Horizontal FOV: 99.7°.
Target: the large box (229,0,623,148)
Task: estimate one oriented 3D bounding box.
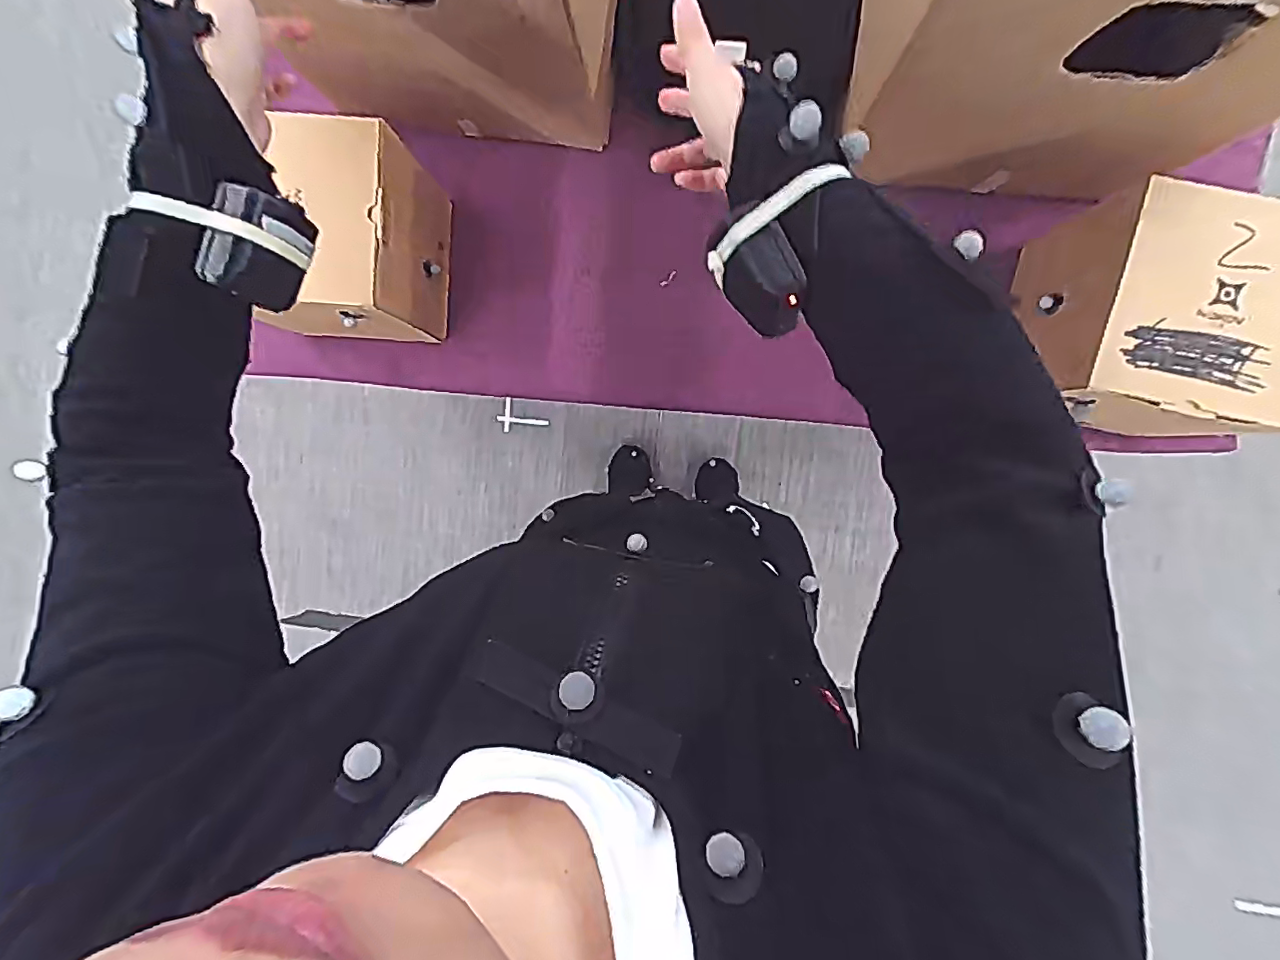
[{"bbox_3d":[-0.172,-0.582,0.465,0.320,0.320,0.408,8,98,4],"label":"large box"}]

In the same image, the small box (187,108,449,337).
[{"bbox_3d":[-0.321,-0.251,0.568,0.179,0.176,0.168,3,94,0],"label":"small box"}]
